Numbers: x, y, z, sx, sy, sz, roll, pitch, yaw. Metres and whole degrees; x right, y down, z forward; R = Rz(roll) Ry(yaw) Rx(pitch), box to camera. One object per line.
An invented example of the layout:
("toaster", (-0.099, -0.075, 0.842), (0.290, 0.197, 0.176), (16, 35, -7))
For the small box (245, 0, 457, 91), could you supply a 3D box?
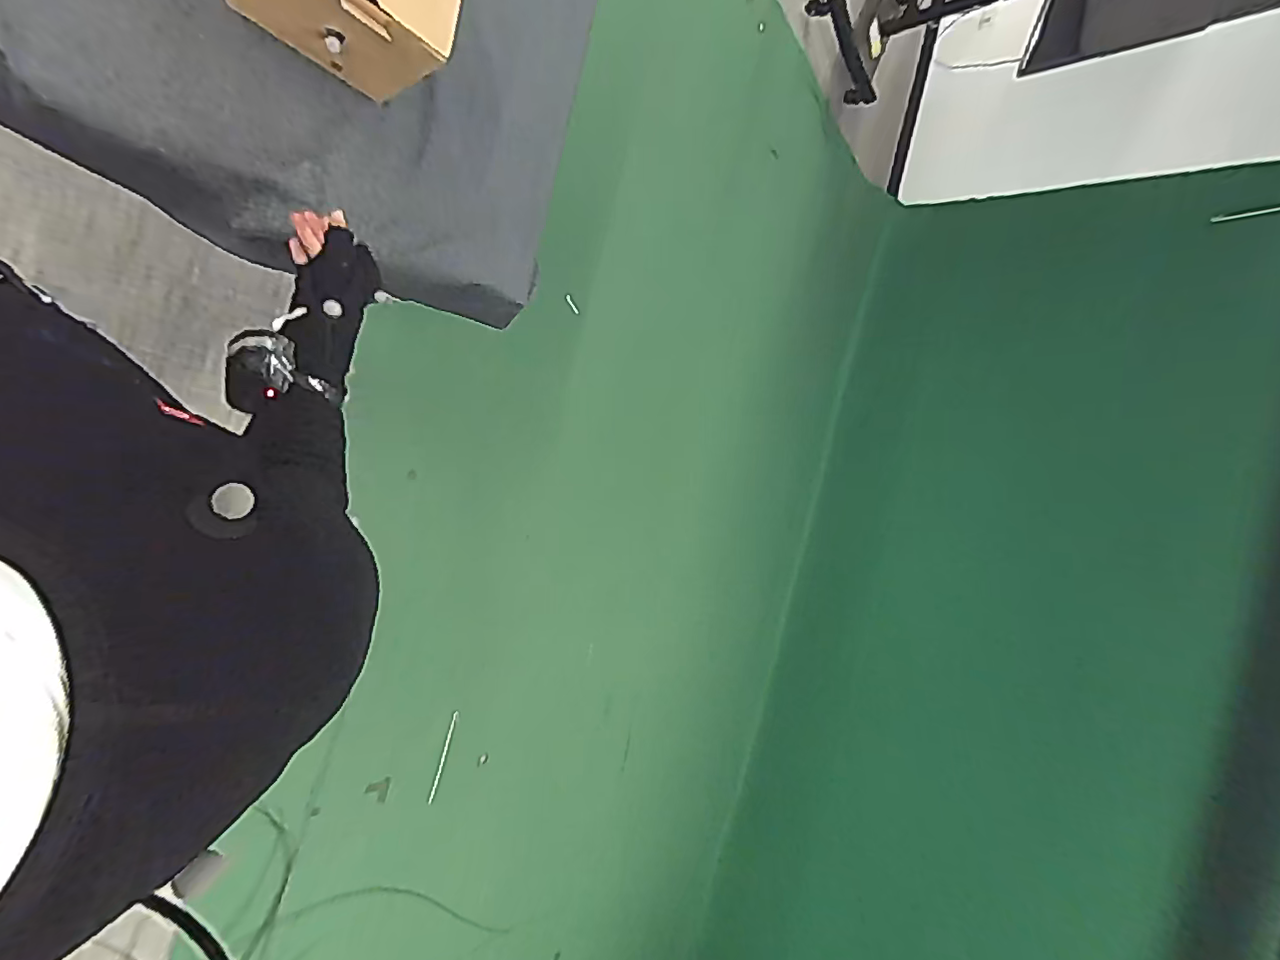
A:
("small box", (-0.303, -0.556, 0.566), (0.168, 0.176, 0.179), (10, 94, -51))
